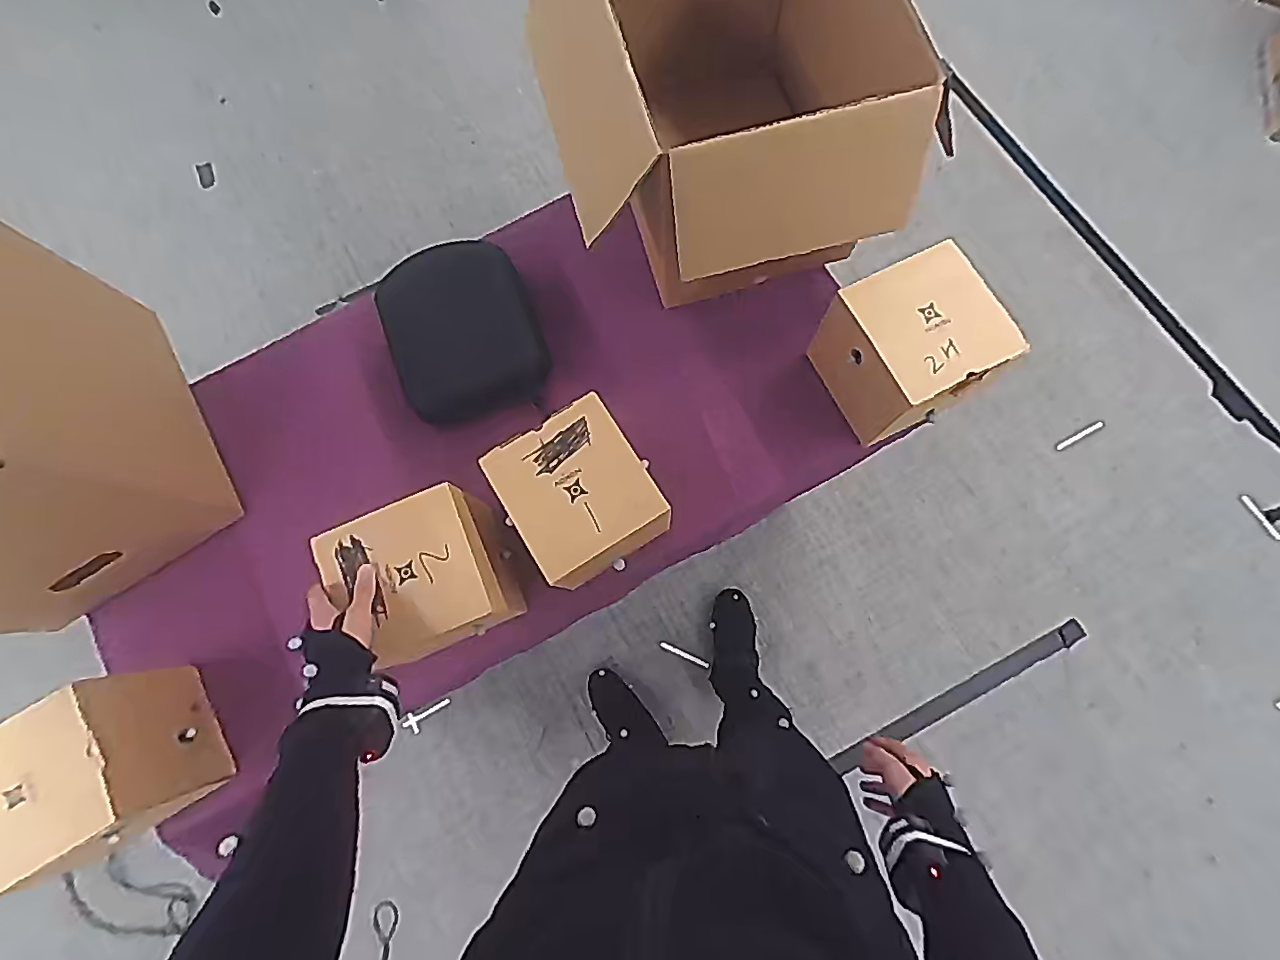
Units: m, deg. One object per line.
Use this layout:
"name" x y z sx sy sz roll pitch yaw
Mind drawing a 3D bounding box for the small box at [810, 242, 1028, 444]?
"small box" 0.357 -0.175 0.733 0.168 0.176 0.179 -25 77 -3

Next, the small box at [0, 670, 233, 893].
"small box" -0.661 0.355 0.661 0.179 0.176 0.168 -32 77 -6

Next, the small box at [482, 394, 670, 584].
"small box" -0.076 0.024 0.711 0.168 0.176 0.179 -32 78 -4
